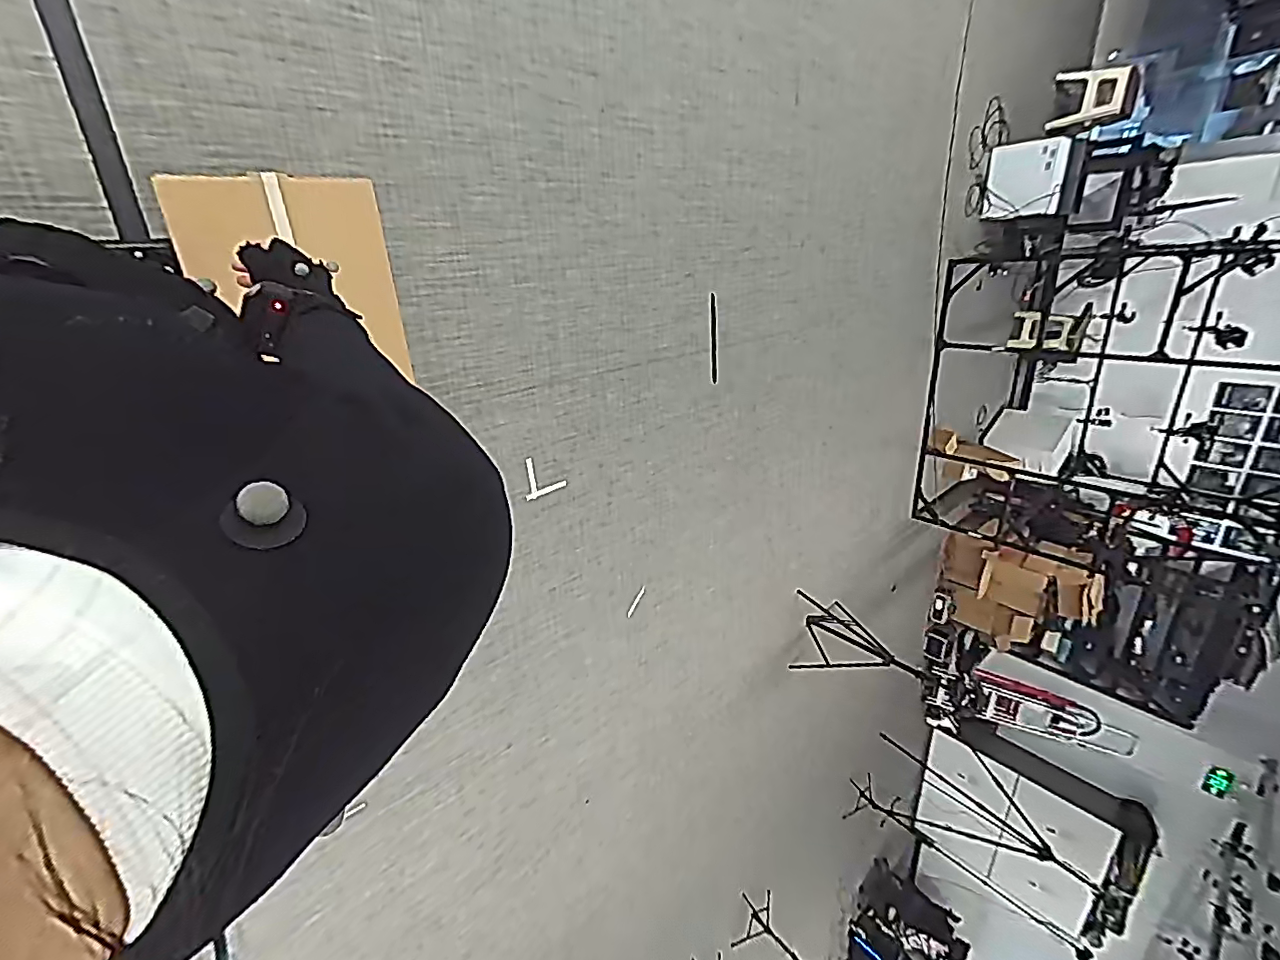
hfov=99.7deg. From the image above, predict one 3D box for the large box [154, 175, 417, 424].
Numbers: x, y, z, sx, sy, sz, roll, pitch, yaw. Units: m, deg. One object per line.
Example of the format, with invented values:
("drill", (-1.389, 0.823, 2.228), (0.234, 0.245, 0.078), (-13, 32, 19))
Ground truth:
("large box", (-0.683, -0.366, 1.079), (0.320, 0.320, 0.408), (-17, 118, -30))
